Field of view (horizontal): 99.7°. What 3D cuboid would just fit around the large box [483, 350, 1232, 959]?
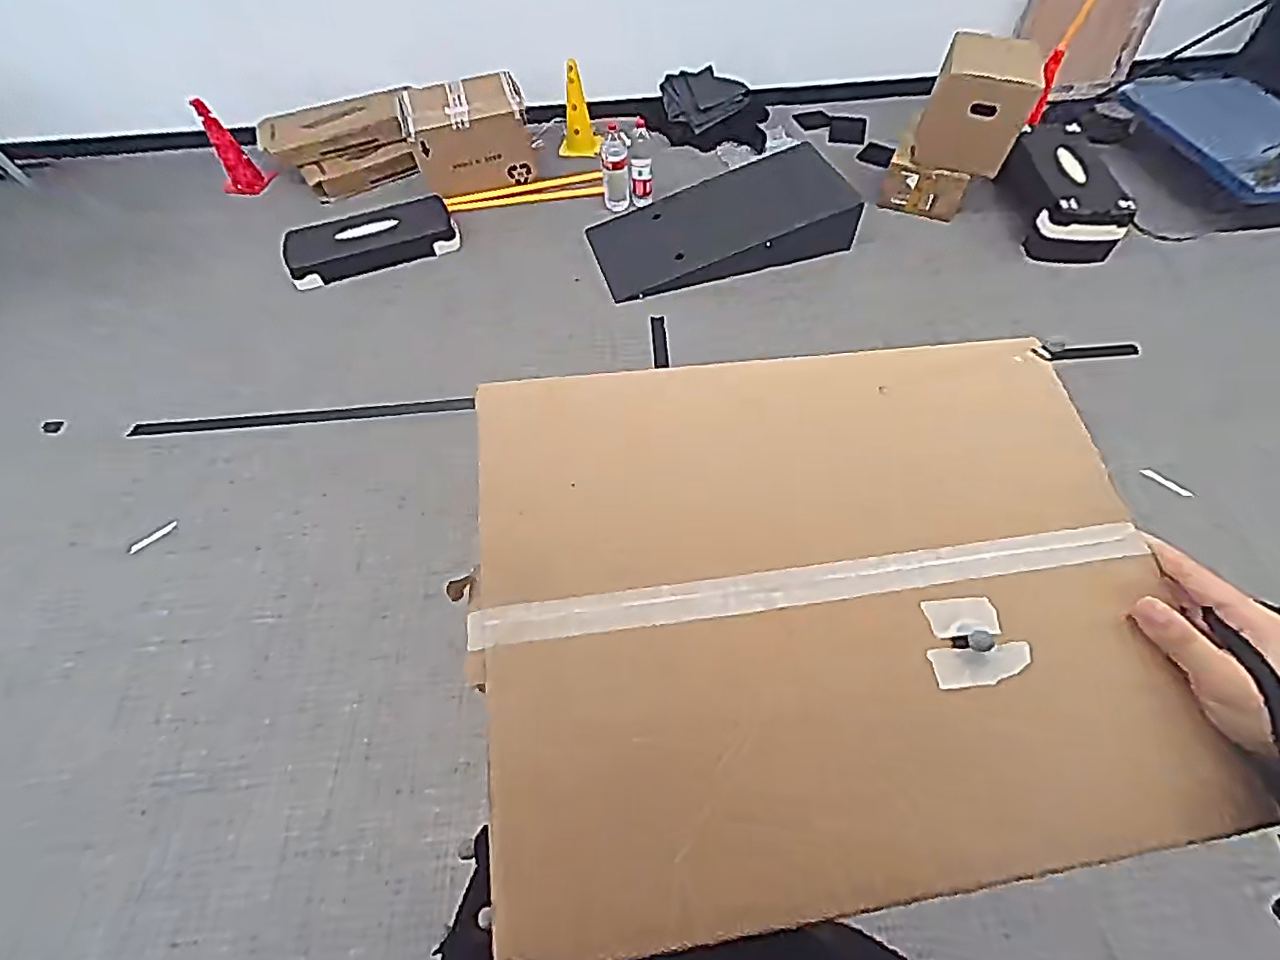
[{"bbox_3d":[0.101,0.121,0.467,0.408,0.320,0.320,-6,69,-7],"label":"large box"}]
